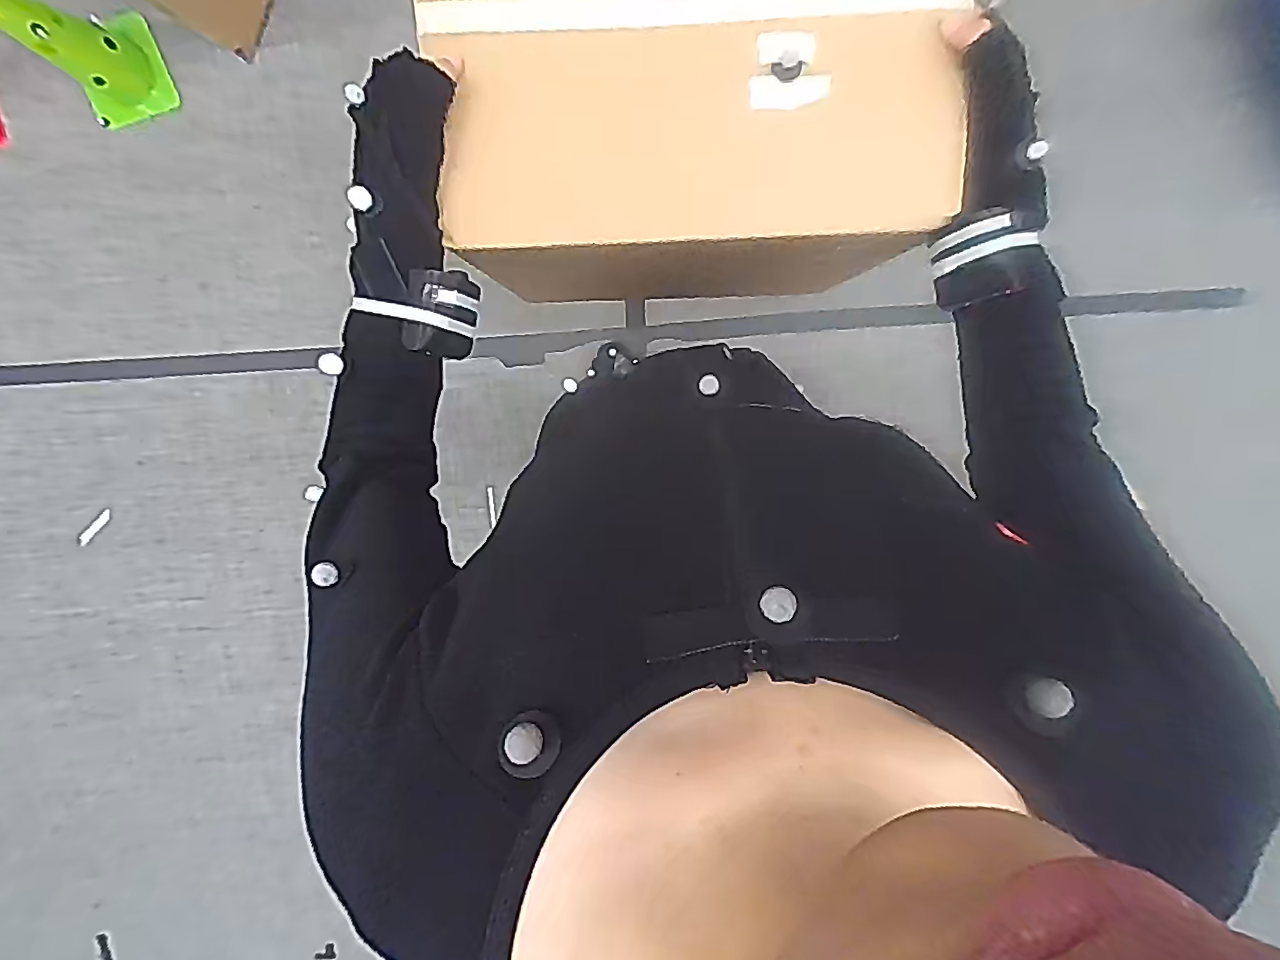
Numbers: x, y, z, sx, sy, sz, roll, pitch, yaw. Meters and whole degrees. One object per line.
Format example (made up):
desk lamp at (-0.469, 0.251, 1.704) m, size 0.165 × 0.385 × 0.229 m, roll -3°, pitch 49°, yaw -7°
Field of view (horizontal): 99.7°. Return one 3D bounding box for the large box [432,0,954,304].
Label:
large box at (0.038, -0.373, 0.557) m, size 0.408 × 0.320 × 0.320 m, roll -2°, pitch 100°, yaw 0°
